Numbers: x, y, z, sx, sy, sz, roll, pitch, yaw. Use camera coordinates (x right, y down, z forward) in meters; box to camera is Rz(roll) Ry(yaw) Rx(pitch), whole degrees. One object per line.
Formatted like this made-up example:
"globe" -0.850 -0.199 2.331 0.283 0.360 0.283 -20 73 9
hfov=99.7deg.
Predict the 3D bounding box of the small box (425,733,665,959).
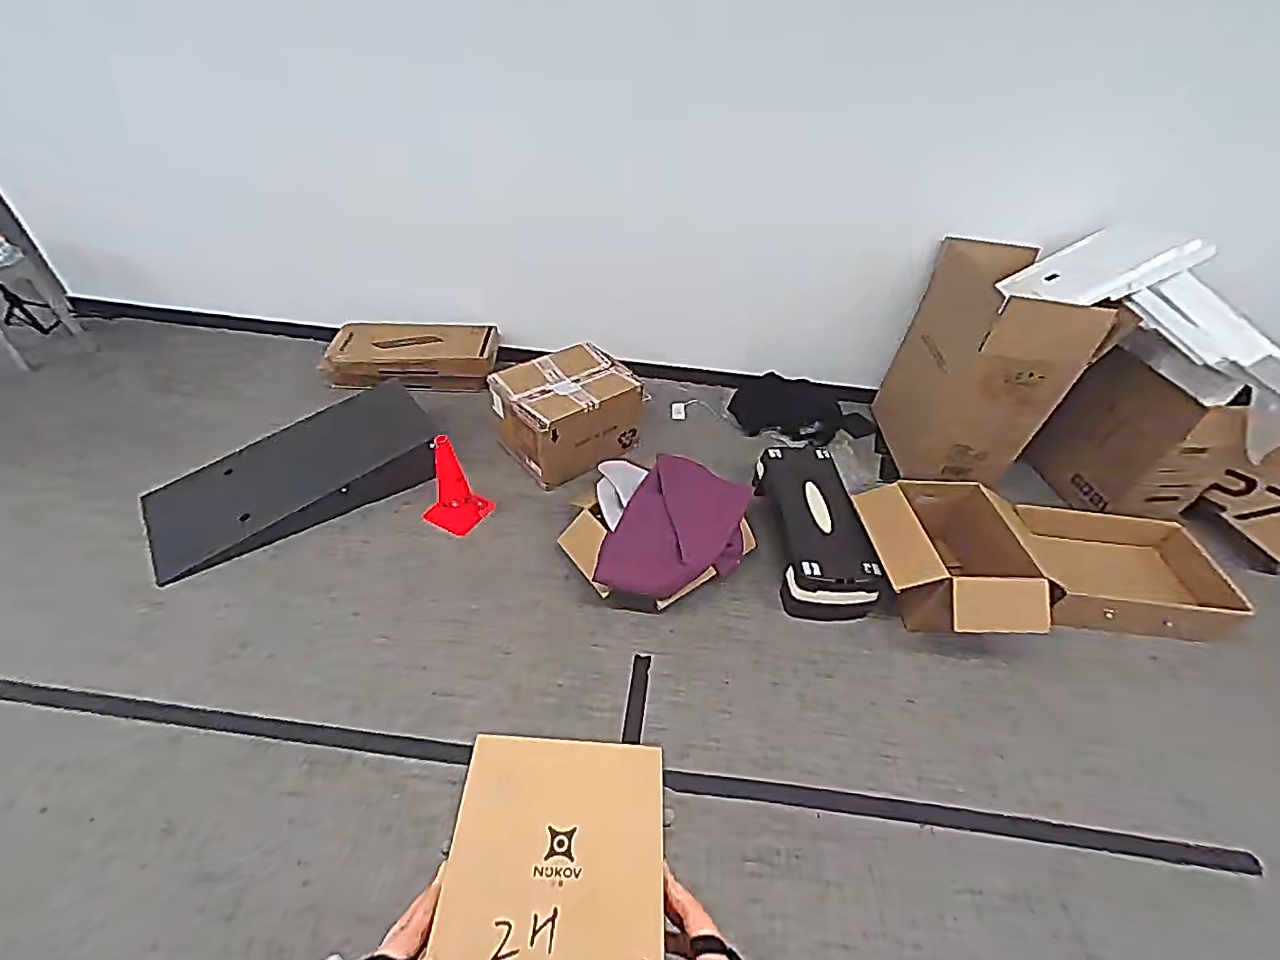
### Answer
"small box" -0.071 0.347 0.466 0.168 0.176 0.179 6 42 -3
